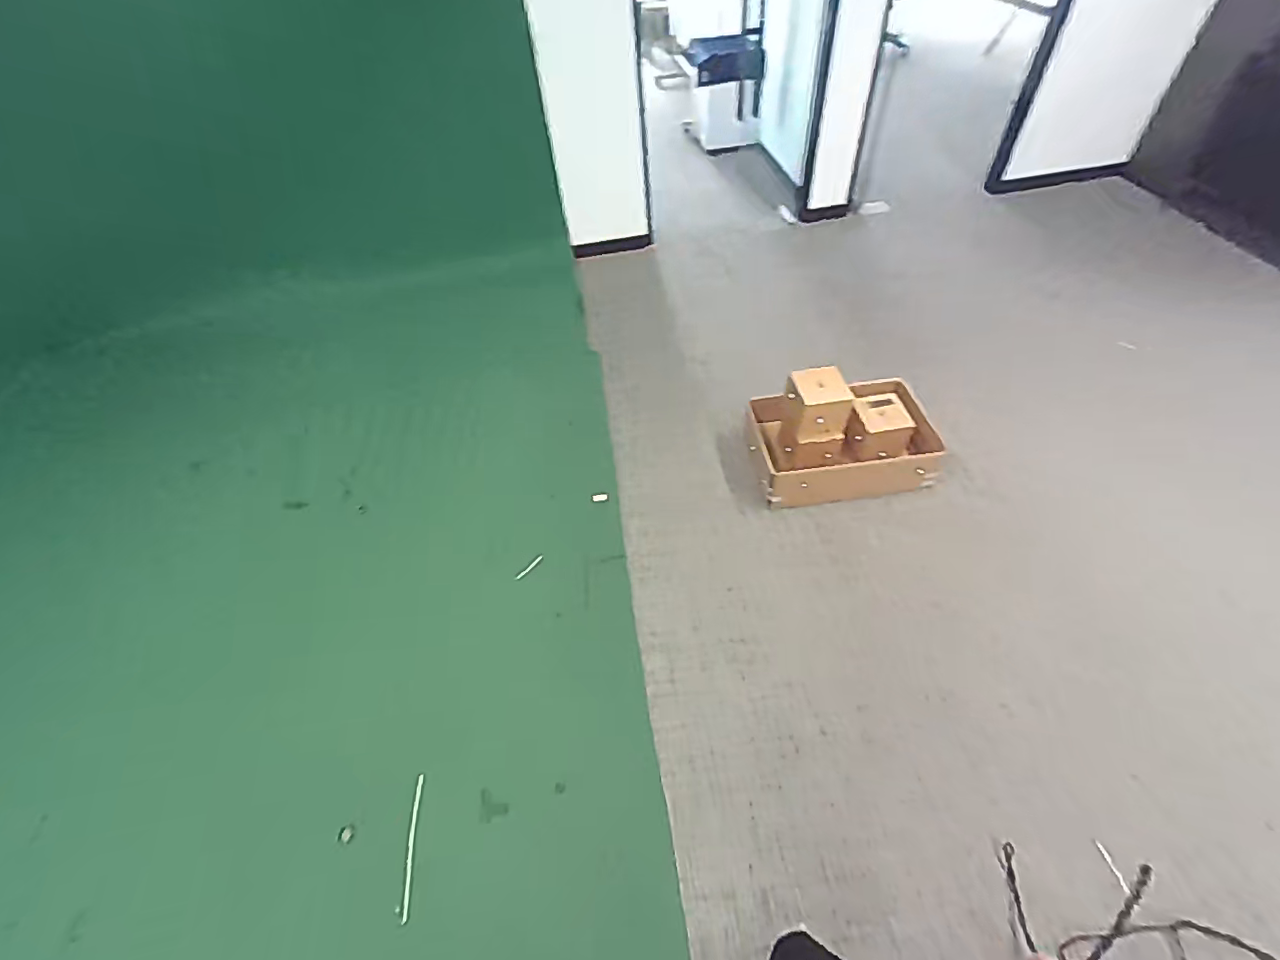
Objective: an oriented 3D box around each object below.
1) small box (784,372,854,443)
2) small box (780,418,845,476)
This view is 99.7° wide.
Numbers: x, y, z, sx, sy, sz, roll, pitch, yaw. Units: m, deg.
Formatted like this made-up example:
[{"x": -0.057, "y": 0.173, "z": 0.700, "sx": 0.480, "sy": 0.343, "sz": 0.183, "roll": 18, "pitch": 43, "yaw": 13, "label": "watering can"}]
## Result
[{"x": 0.610, "y": -0.244, "z": 1.866, "sx": 0.168, "sy": 0.176, "sz": 0.179, "roll": -9, "pitch": 49, "yaw": -4, "label": "small box"}, {"x": 0.623, "y": -0.128, "z": 1.979, "sx": 0.168, "sy": 0.176, "sz": 0.179, "roll": -8, "pitch": 49, "yaw": -3, "label": "small box"}]
